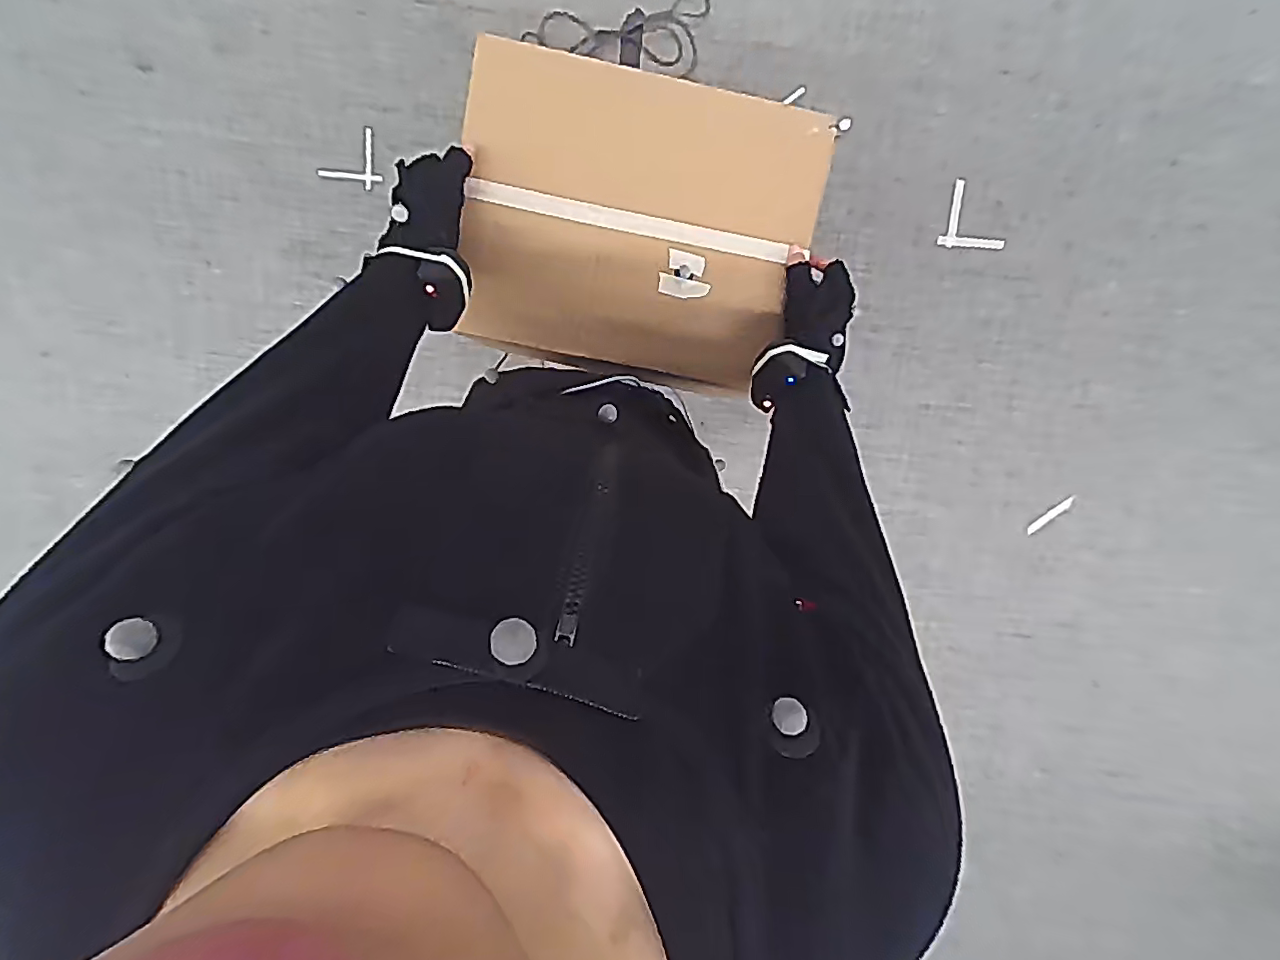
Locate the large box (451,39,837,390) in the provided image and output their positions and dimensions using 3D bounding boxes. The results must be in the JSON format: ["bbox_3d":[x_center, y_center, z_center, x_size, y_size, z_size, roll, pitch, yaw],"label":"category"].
[{"bbox_3d":[-0.005,-0.319,0.766,0.408,0.320,0.320,12,99,-4],"label":"large box"}]
